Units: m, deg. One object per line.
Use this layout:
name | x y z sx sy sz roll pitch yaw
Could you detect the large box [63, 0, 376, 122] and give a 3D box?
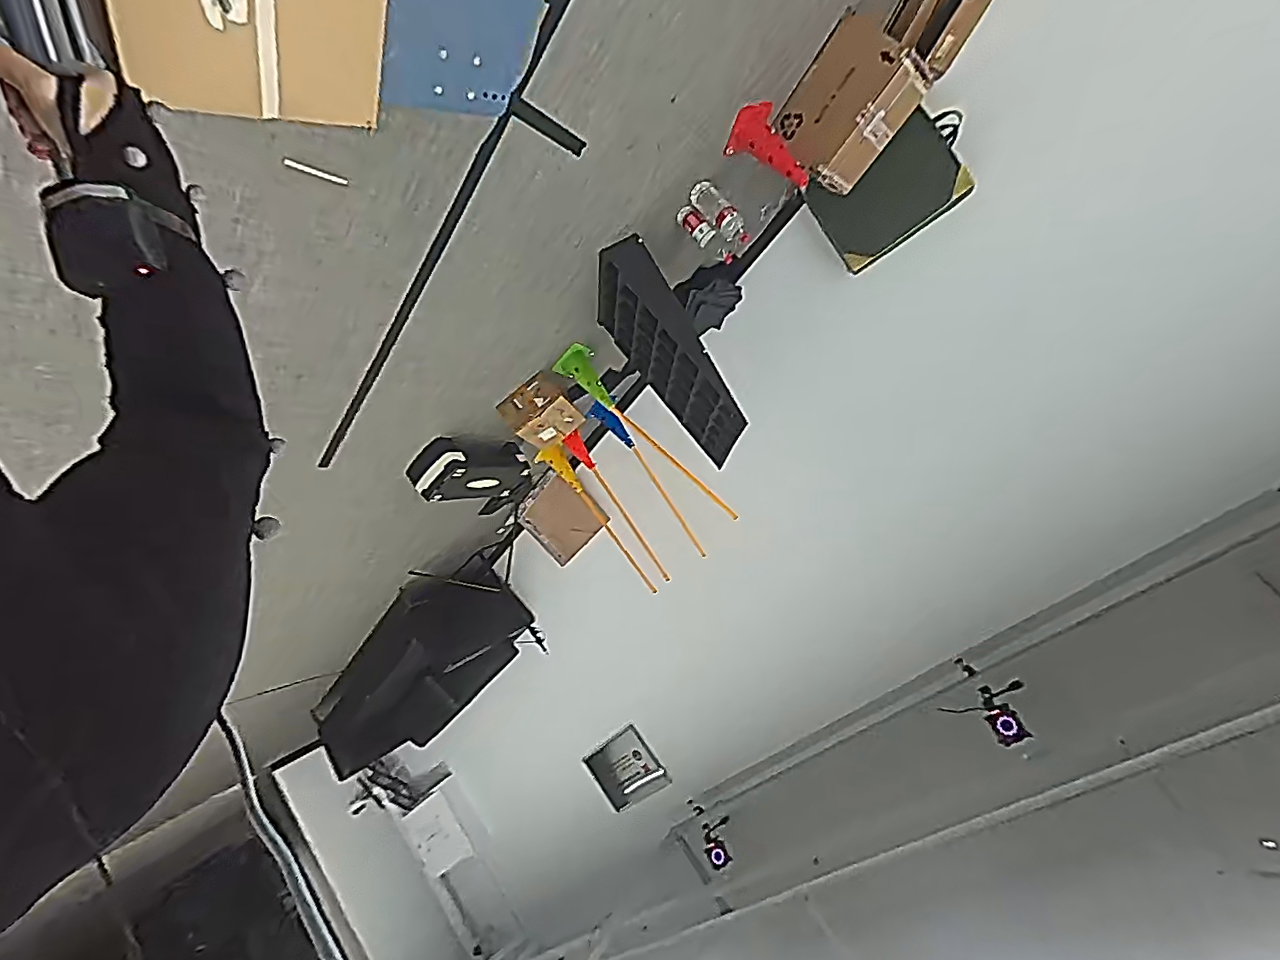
large box | -0.548 -0.749 0.664 0.320 0.320 0.408 -26 163 -42
